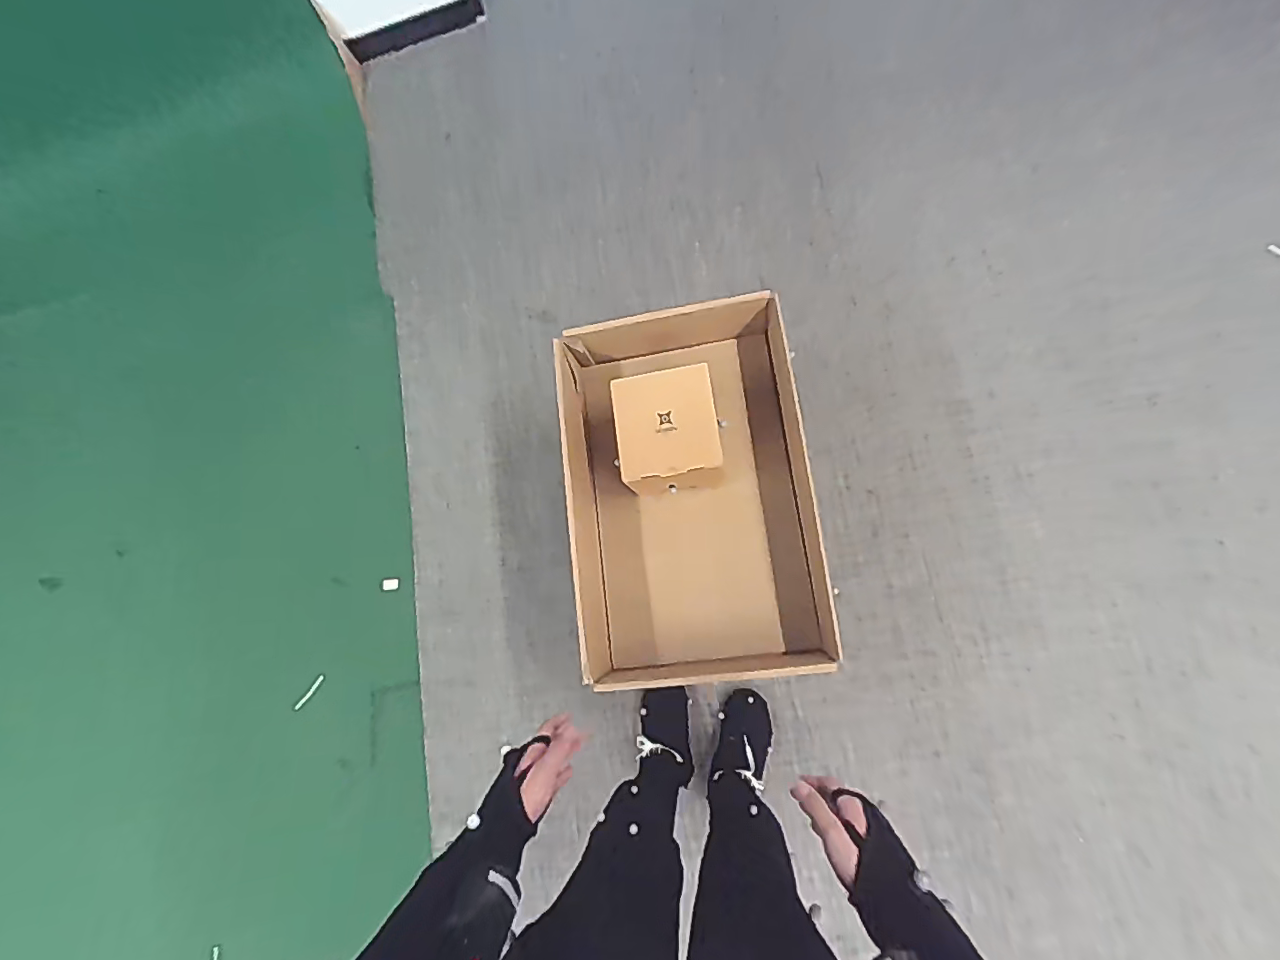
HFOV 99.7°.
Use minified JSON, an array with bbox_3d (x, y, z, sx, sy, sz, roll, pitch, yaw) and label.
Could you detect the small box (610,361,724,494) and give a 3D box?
[{"bbox_3d":[0.053,-0.083,0.945,0.168,0.176,0.179,-10,79,8],"label":"small box"}]
